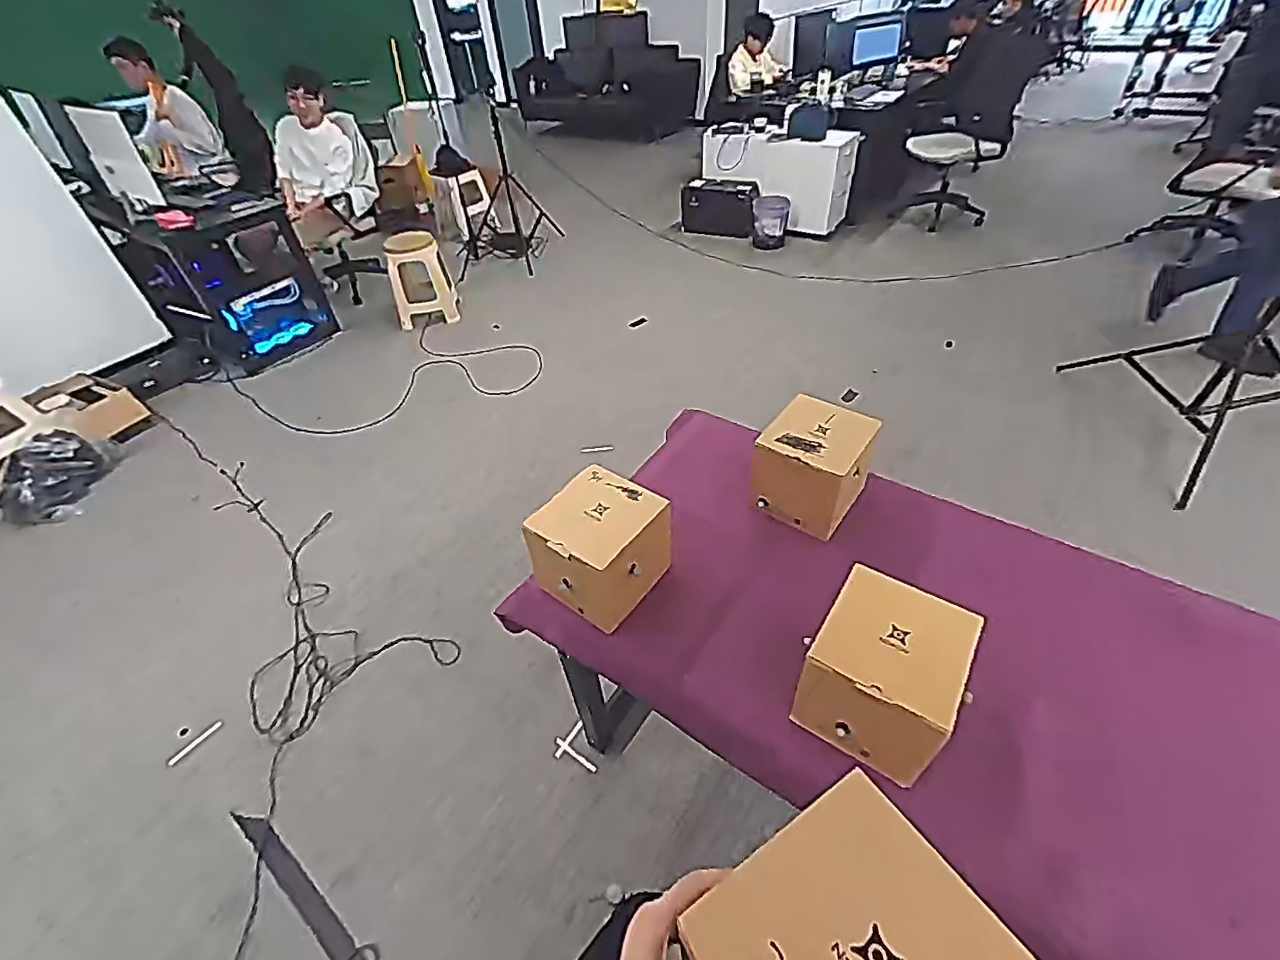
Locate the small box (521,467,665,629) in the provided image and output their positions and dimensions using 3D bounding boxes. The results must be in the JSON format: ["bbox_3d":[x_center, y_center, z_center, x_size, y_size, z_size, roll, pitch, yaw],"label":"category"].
[{"bbox_3d":[-0.067,0.115,0.907,0.168,0.176,0.179,26,51,28],"label":"small box"}]

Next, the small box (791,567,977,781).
[{"bbox_3d":[0.318,0.258,0.728,0.168,0.176,0.179,24,49,27],"label":"small box"}]

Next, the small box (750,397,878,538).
[{"bbox_3d":[0.319,-0.022,1.018,0.168,0.176,0.179,27,52,29],"label":"small box"}]
